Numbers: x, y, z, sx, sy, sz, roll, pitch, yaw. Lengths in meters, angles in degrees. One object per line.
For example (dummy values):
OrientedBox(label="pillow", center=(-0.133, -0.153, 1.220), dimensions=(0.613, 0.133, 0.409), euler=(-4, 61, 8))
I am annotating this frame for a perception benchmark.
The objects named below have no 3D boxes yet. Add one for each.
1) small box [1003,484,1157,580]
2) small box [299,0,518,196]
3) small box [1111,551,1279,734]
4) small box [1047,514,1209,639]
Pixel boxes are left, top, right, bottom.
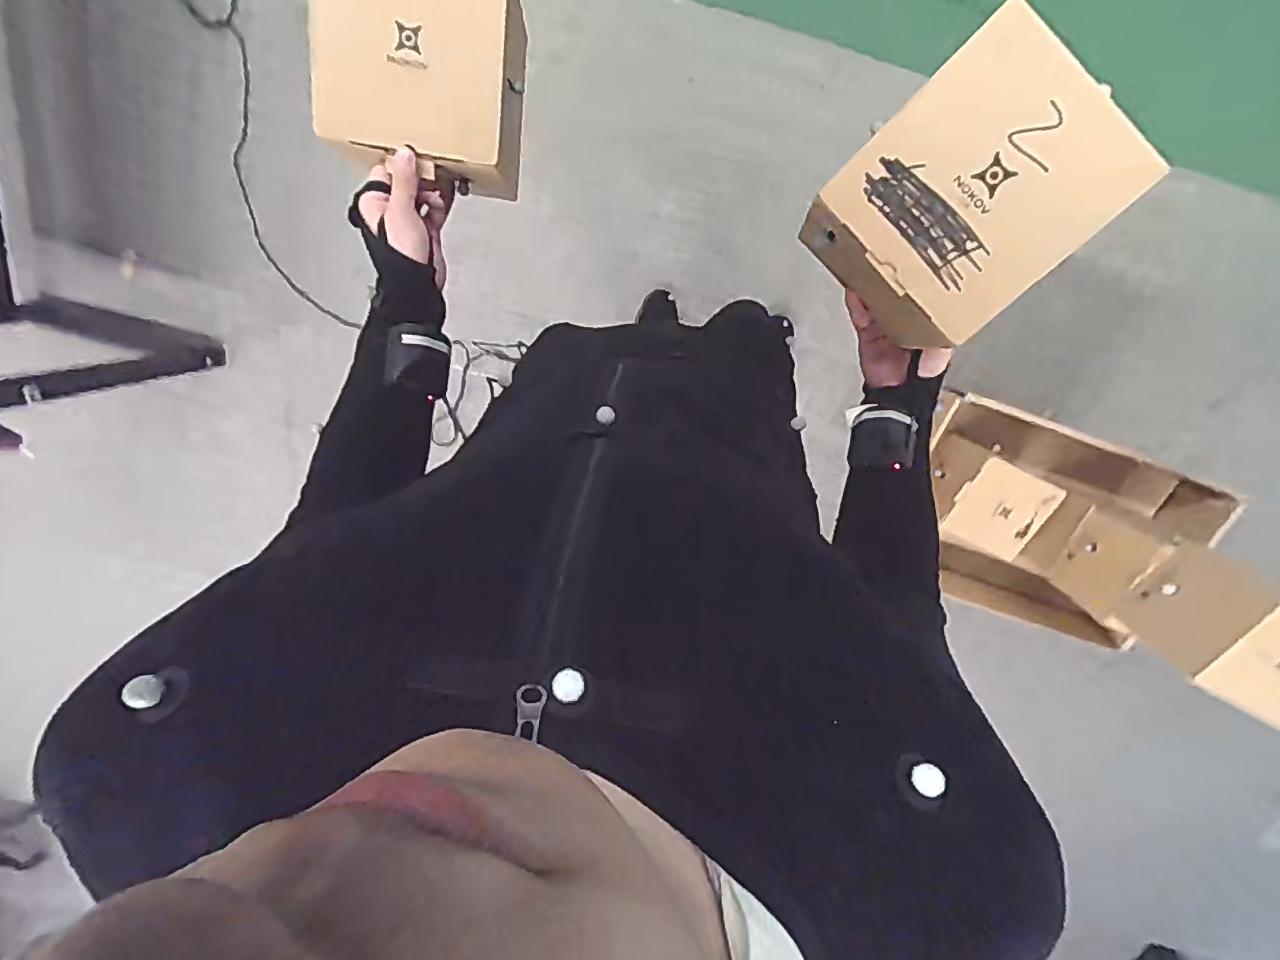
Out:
OrientedBox(label="small box", center=(0.913, 0.126, 1.121), dimensions=(0.179, 0.176, 0.168), euler=(19, 110, -2))
OrientedBox(label="small box", center=(-0.219, -0.408, 0.551), dimensions=(0.168, 0.176, 0.179), euler=(5, 106, -8))
OrientedBox(label="small box", center=(0.890, 0.233, 0.814), dimensions=(0.179, 0.176, 0.168), euler=(28, 110, -4))
OrientedBox(label="small box", center=(0.898, 0.180, 0.969), dimensions=(0.179, 0.176, 0.168), euler=(19, 110, -2))
